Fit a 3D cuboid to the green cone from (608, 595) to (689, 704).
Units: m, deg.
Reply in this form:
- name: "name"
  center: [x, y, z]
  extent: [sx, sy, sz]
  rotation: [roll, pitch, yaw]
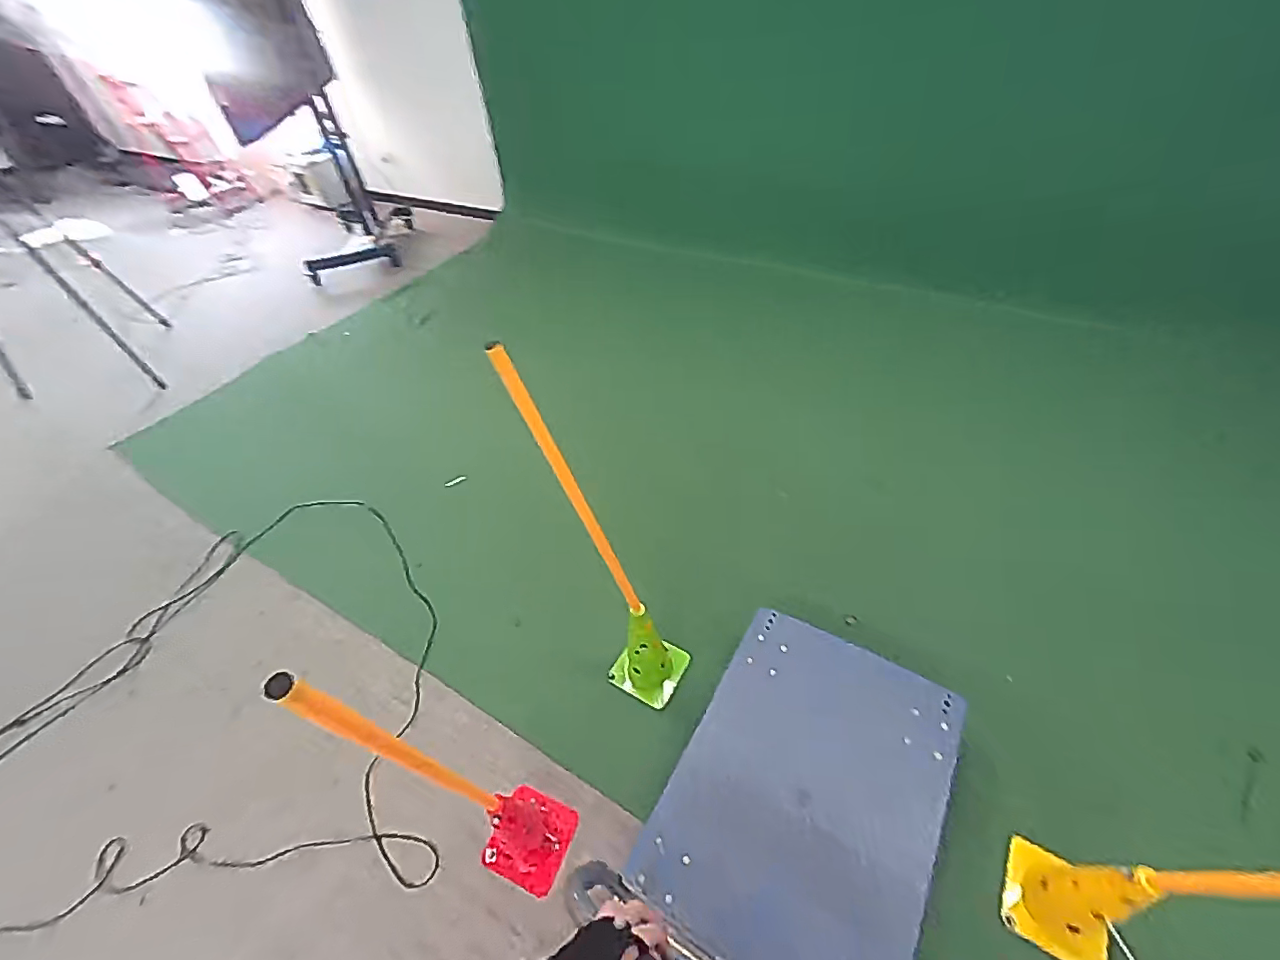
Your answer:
- name: "green cone"
  center: [0.014, 0.449, 1.553]
  extent: [0.200, 0.368, 0.202]
  rotation: [21, 51, 25]
